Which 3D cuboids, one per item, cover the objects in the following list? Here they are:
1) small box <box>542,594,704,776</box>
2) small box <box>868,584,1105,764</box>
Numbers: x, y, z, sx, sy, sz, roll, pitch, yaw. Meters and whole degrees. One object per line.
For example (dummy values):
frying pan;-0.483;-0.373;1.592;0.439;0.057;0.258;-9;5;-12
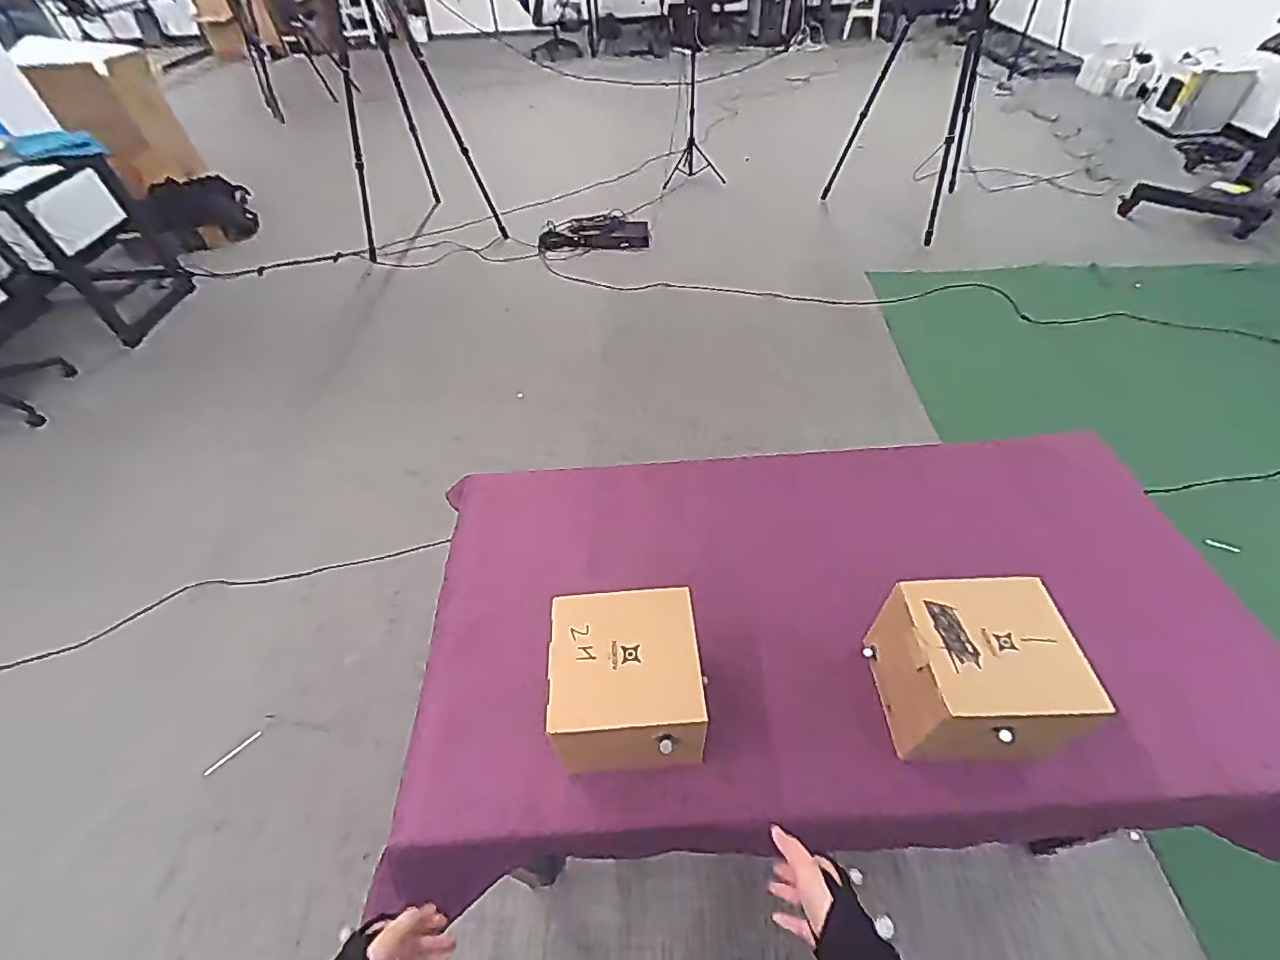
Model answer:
small box;-0.018;0.263;0.687;0.179;0.176;0.168;-4;47;0
small box;0.404;0.246;0.677;0.179;0.176;0.168;-2;48;1
